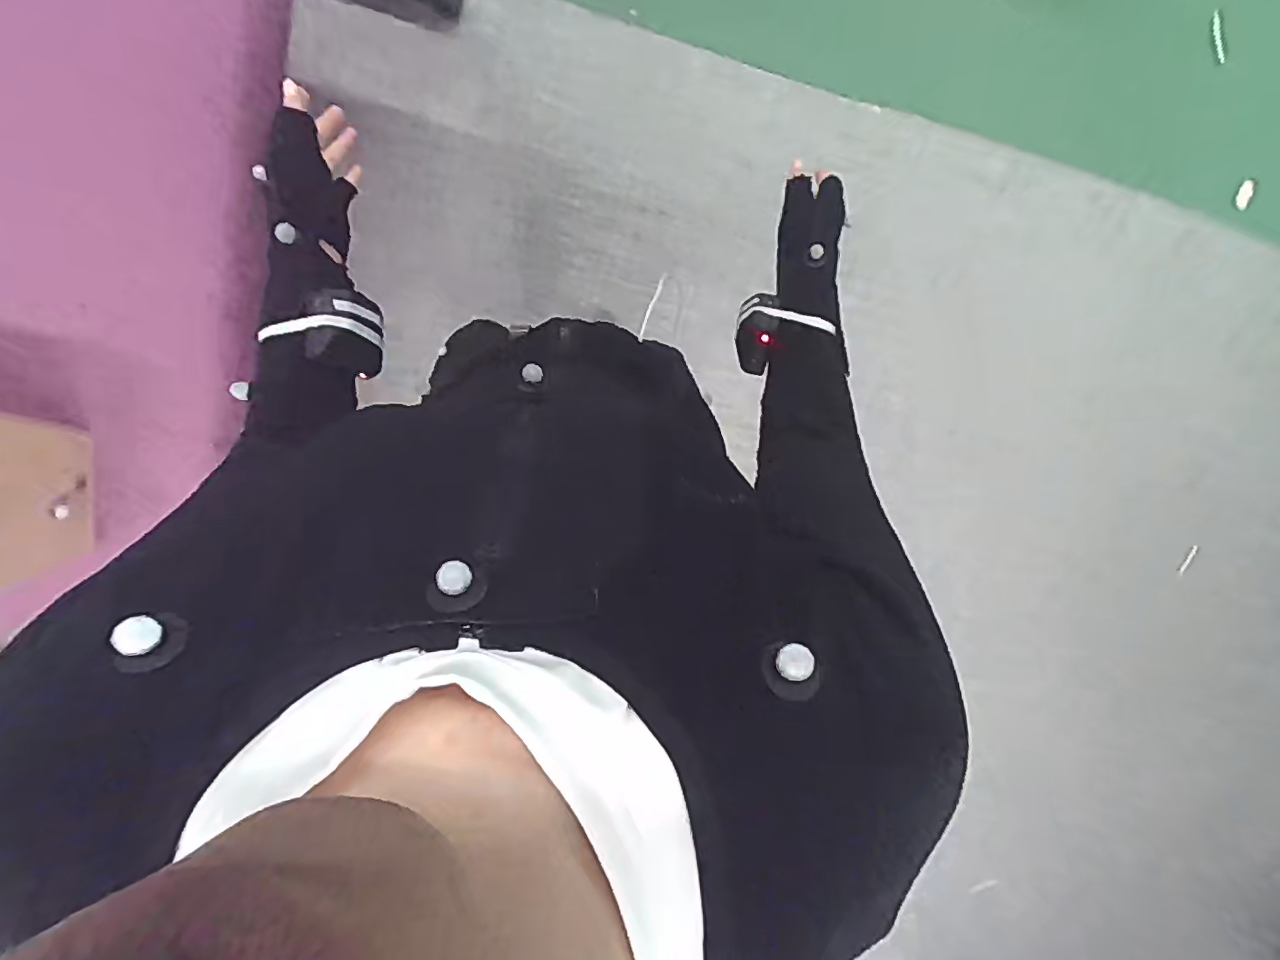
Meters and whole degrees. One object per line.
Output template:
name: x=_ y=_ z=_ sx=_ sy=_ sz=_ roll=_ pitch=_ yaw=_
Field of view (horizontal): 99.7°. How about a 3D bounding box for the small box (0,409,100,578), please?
small box: x=-0.788 y=0.016 z=0.617 sx=0.179 sy=0.176 sz=0.168 roll=15 pitch=106 yaw=-8
